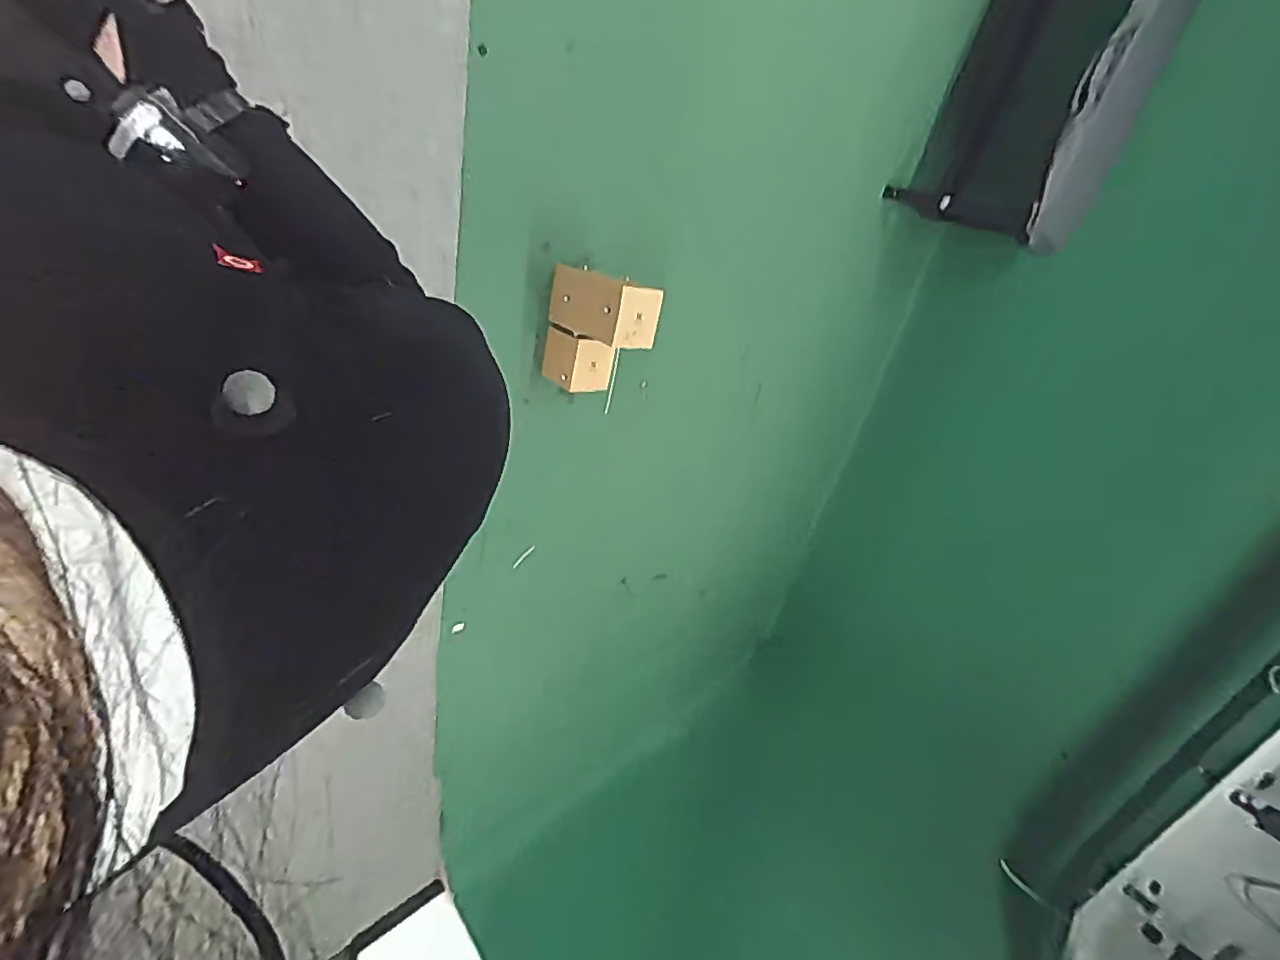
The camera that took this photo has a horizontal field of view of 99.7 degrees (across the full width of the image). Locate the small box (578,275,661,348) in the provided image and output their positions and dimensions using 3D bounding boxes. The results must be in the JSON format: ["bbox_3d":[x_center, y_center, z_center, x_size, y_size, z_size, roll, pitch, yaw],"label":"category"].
[{"bbox_3d":[-0.067,-0.509,1.630,0.168,0.176,0.179,-12,125,-43],"label":"small box"}]
